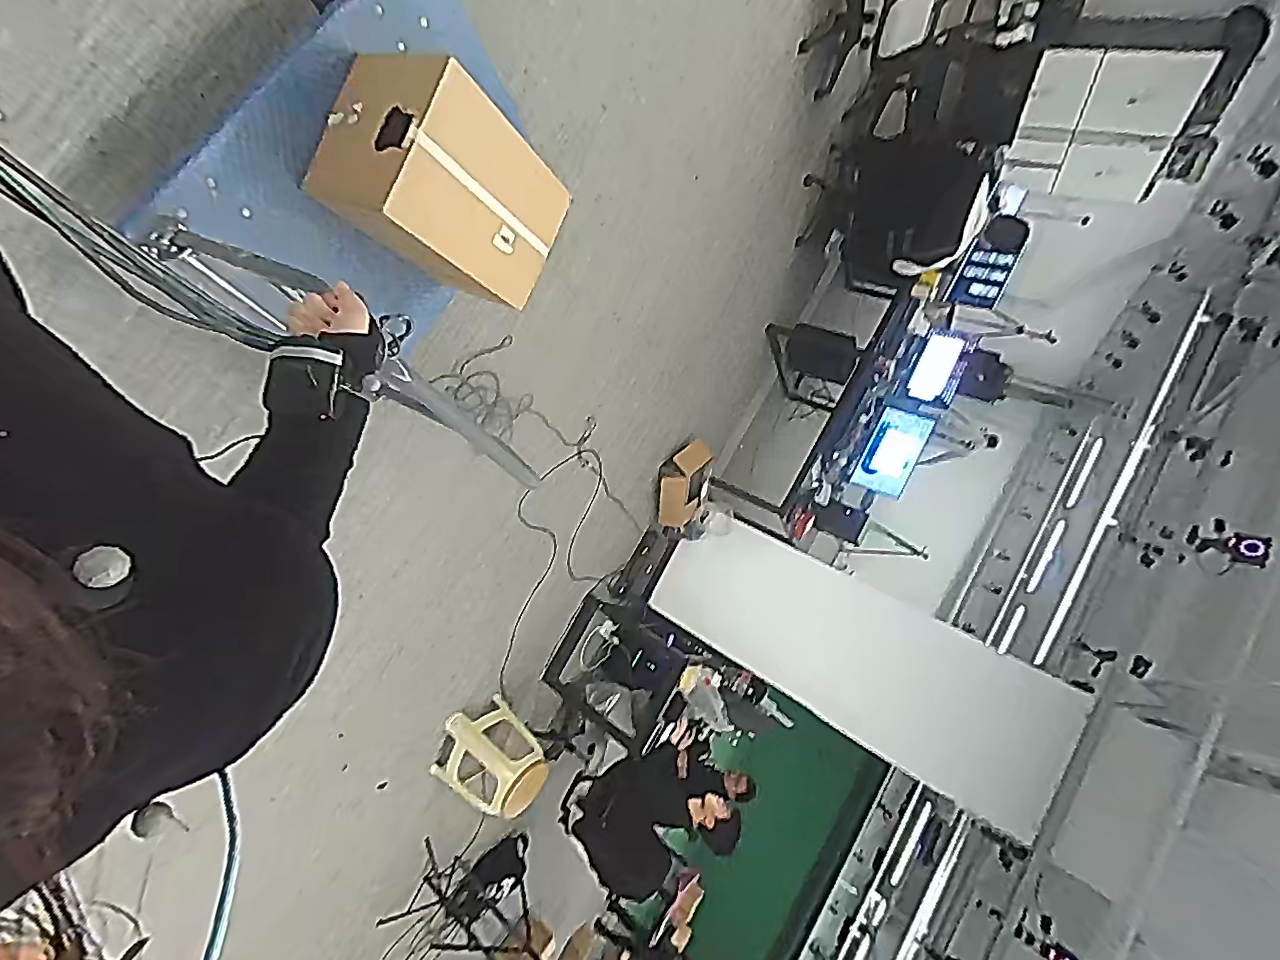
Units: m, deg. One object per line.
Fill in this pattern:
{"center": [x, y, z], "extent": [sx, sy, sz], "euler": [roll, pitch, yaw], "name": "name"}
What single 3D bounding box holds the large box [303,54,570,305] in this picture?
{"center": [-0.438, -0.651, 1.214], "extent": [0.408, 0.320, 0.320], "euler": [20, 96, -62], "name": "large box"}
